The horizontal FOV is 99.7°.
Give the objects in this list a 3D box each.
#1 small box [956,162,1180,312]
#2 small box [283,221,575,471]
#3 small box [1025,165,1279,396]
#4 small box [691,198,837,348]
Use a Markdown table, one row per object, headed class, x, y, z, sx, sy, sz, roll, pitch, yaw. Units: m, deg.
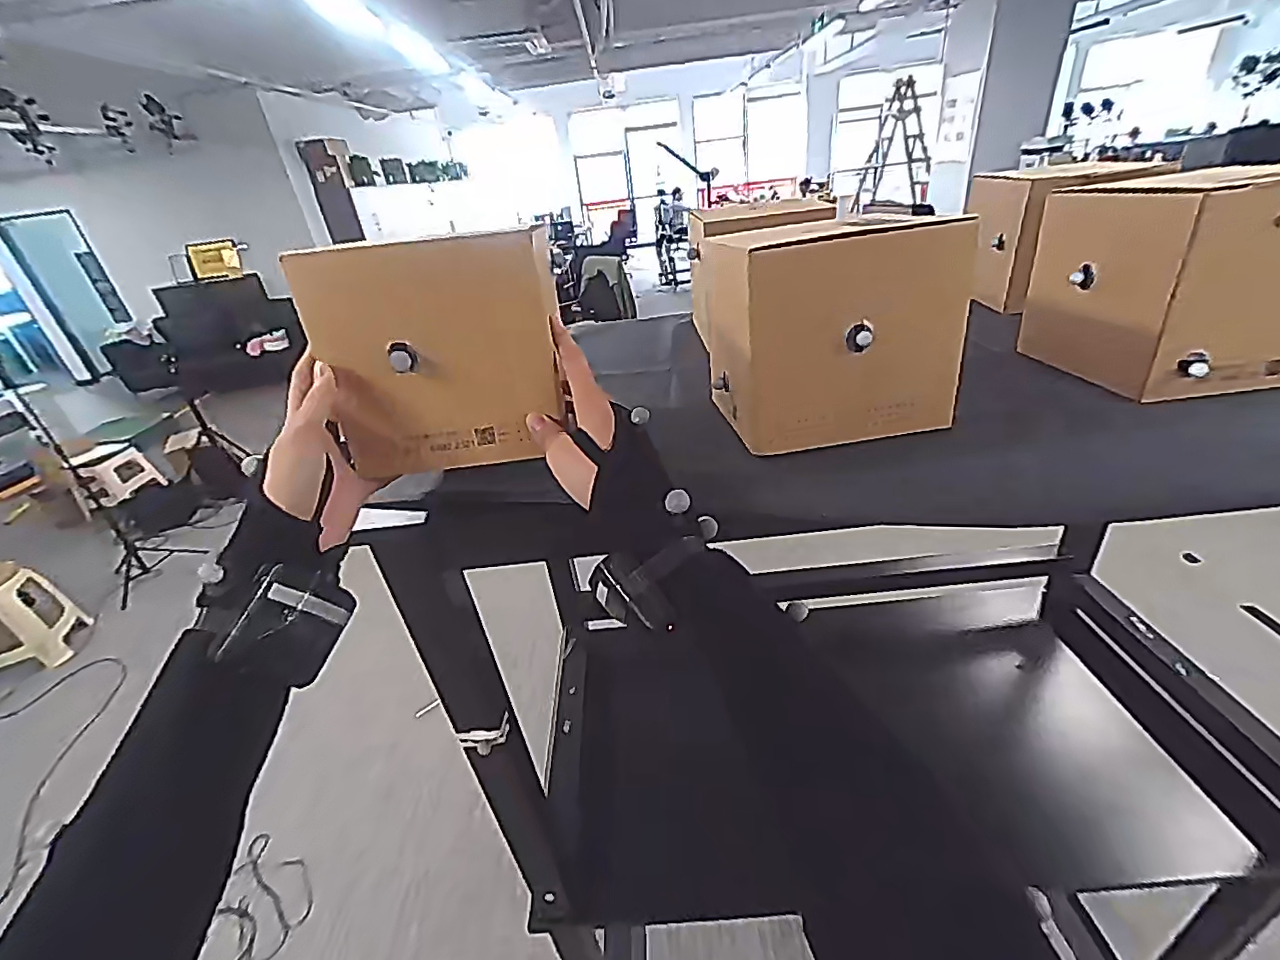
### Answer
| class | x | y | z | sx | sy | sz | roll | pitch | yaw |
| --- | --- | --- | --- | --- | --- | --- | --- | --- | --- |
| small box | 0.576 | -0.338 | 0.760 | 0.168 | 0.176 | 0.179 | -3 | 30 | 6 |
| small box | -0.149 | -0.114 | 0.458 | 0.168 | 0.176 | 0.179 | -7 | 27 | -3 |
| small box | 0.503 | -0.181 | 0.498 | 0.168 | 0.176 | 0.179 | -6 | 27 | 3 |
| small box | 0.166 | -0.291 | 0.766 | 0.168 | 0.176 | 0.179 | -6 | 30 | 1 |
